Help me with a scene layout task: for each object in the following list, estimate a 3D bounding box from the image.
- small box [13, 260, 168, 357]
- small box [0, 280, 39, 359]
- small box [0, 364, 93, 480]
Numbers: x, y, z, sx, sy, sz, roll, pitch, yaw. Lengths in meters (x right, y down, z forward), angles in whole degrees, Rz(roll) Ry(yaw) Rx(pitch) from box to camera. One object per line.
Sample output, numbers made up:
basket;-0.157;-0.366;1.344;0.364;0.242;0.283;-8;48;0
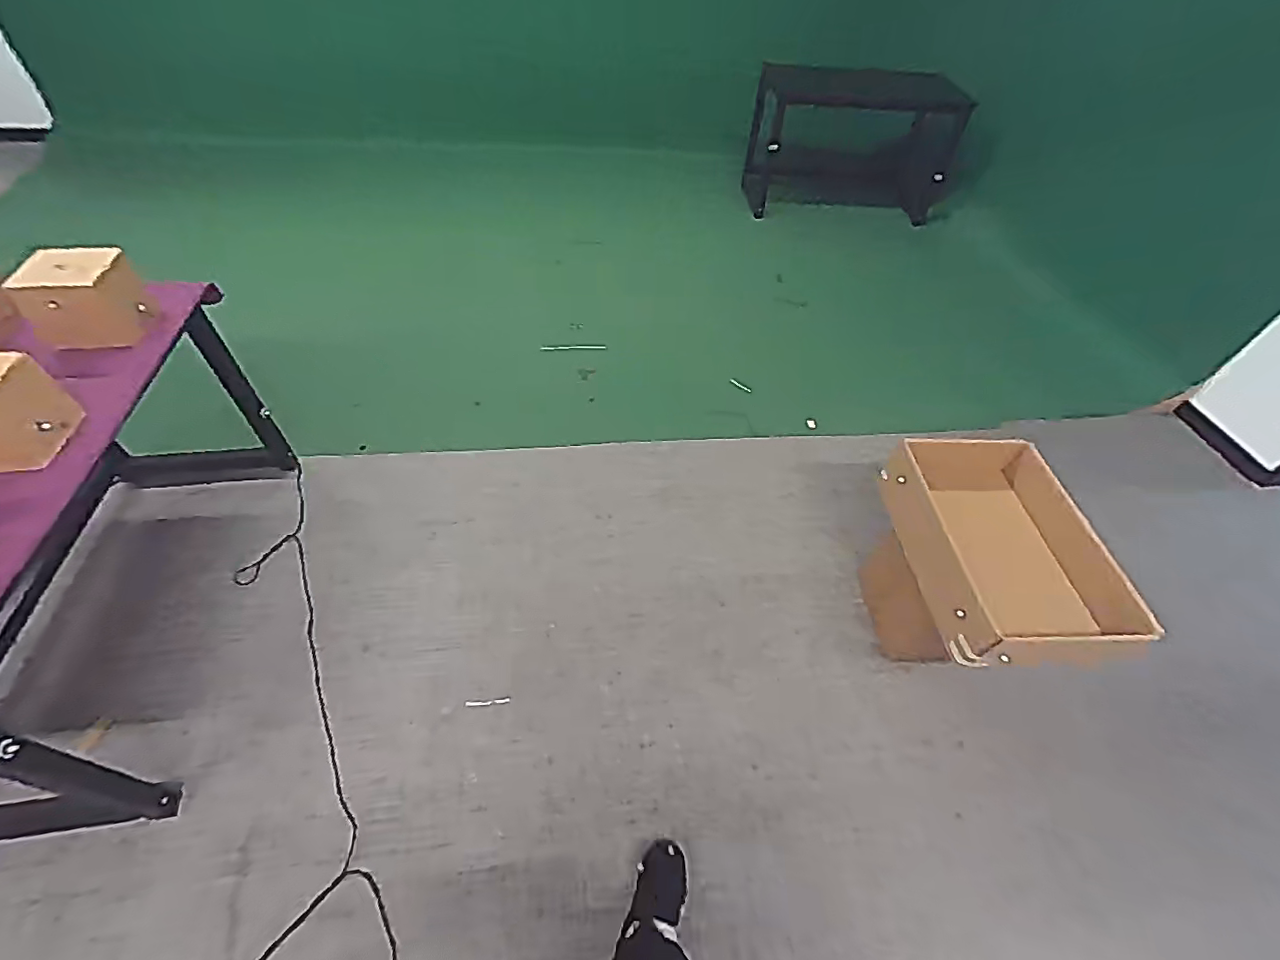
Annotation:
small box;-1.325;-0.415;1.320;0.179;0.176;0.168;-5;52;-8
small box;-1.632;-0.392;1.286;0.179;0.176;0.168;-4;51;-6
small box;-1.274;-0.110;1.071;0.179;0.176;0.168;-4;50;-6
